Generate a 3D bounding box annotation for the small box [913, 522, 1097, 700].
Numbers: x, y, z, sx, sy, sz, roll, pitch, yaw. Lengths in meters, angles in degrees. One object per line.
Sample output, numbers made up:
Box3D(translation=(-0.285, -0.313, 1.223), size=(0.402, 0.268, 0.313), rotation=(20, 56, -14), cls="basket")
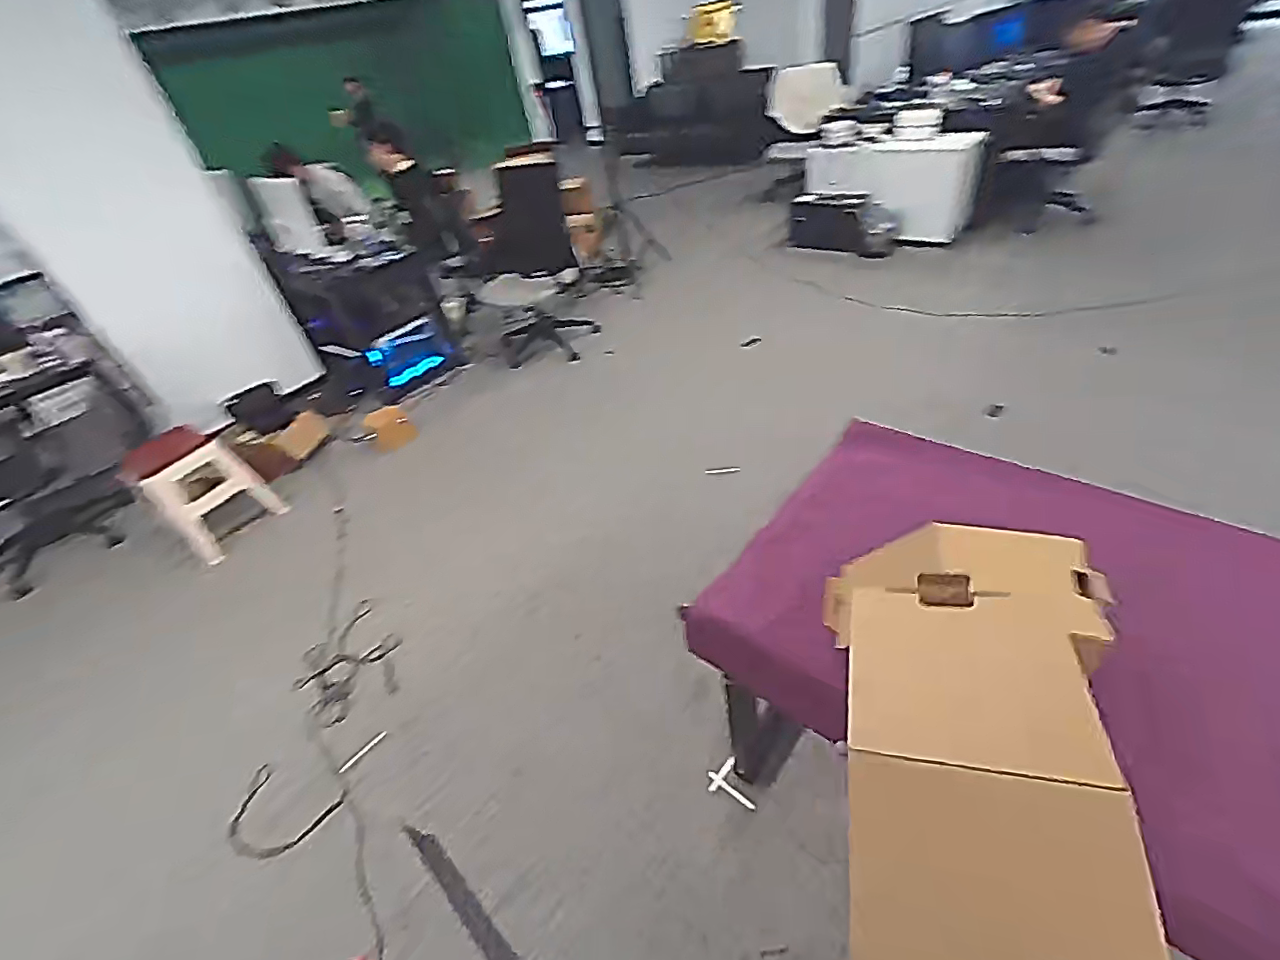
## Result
Box3D(translation=(0.489, 0.183, 0.760), size=(0.179, 0.176, 0.168), rotation=(6, 43, 20), cls="small box")
